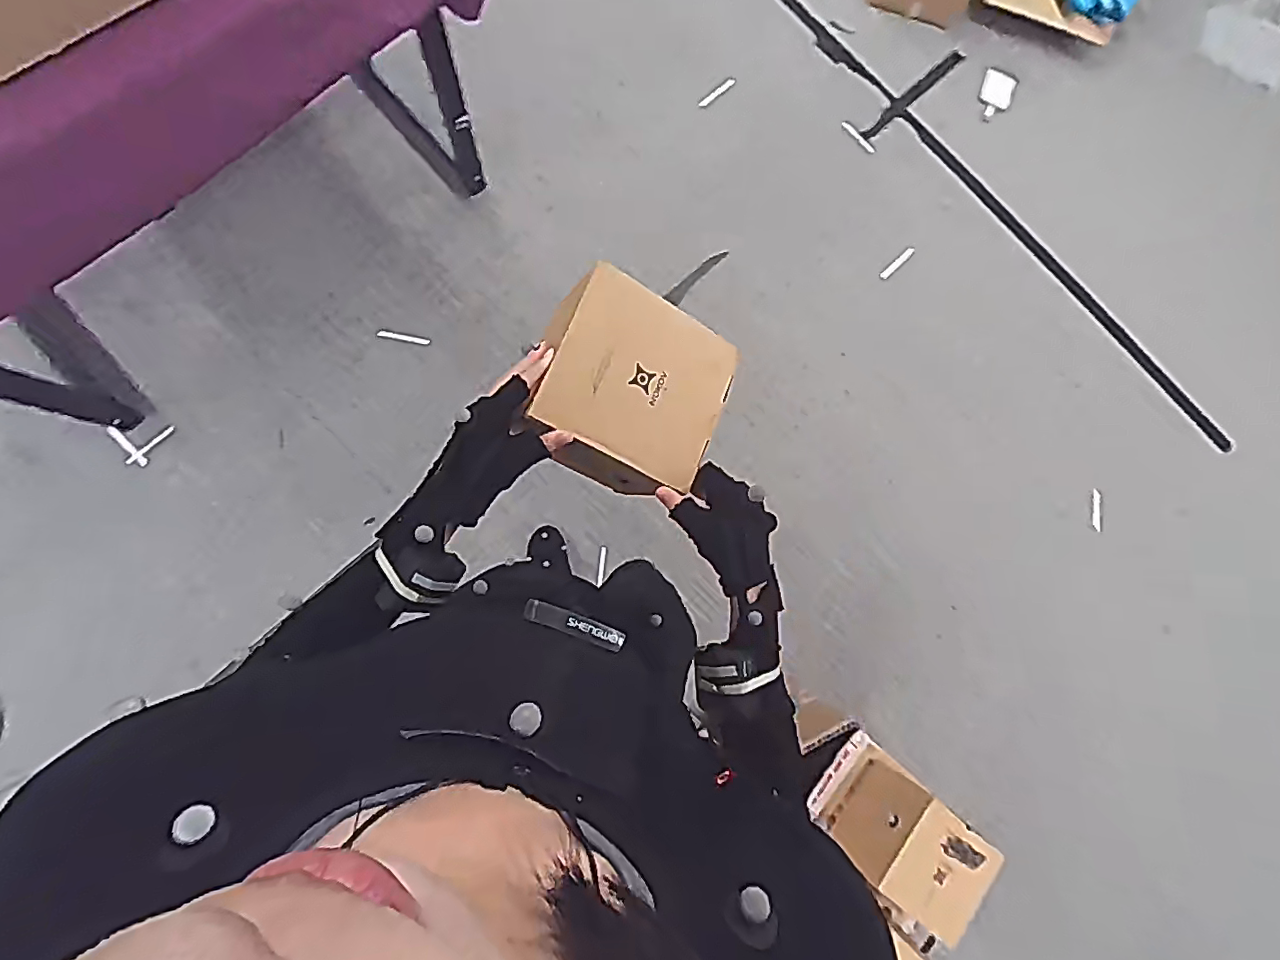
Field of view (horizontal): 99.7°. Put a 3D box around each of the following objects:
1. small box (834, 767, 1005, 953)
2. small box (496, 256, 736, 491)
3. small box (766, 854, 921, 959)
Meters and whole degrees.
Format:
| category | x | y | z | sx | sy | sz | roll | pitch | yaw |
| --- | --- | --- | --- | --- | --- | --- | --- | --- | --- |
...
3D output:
| category | x | y | z | sx | sy | sz | roll | pitch | yaw |
| --- | --- | --- | --- | --- | --- | --- | --- | --- | --- |
| small box | 0.481 | 0.653 | 0.957 | 0.168 | 0.176 | 0.179 | 40 | 79 | -2 |
| small box | -0.034 | -0.095 | 0.578 | 0.179 | 0.176 | 0.168 | 24 | 77 | -20 |
| small box | 0.350 | 0.798 | 0.924 | 0.179 | 0.176 | 0.168 | 44 | 82 | -2 |
